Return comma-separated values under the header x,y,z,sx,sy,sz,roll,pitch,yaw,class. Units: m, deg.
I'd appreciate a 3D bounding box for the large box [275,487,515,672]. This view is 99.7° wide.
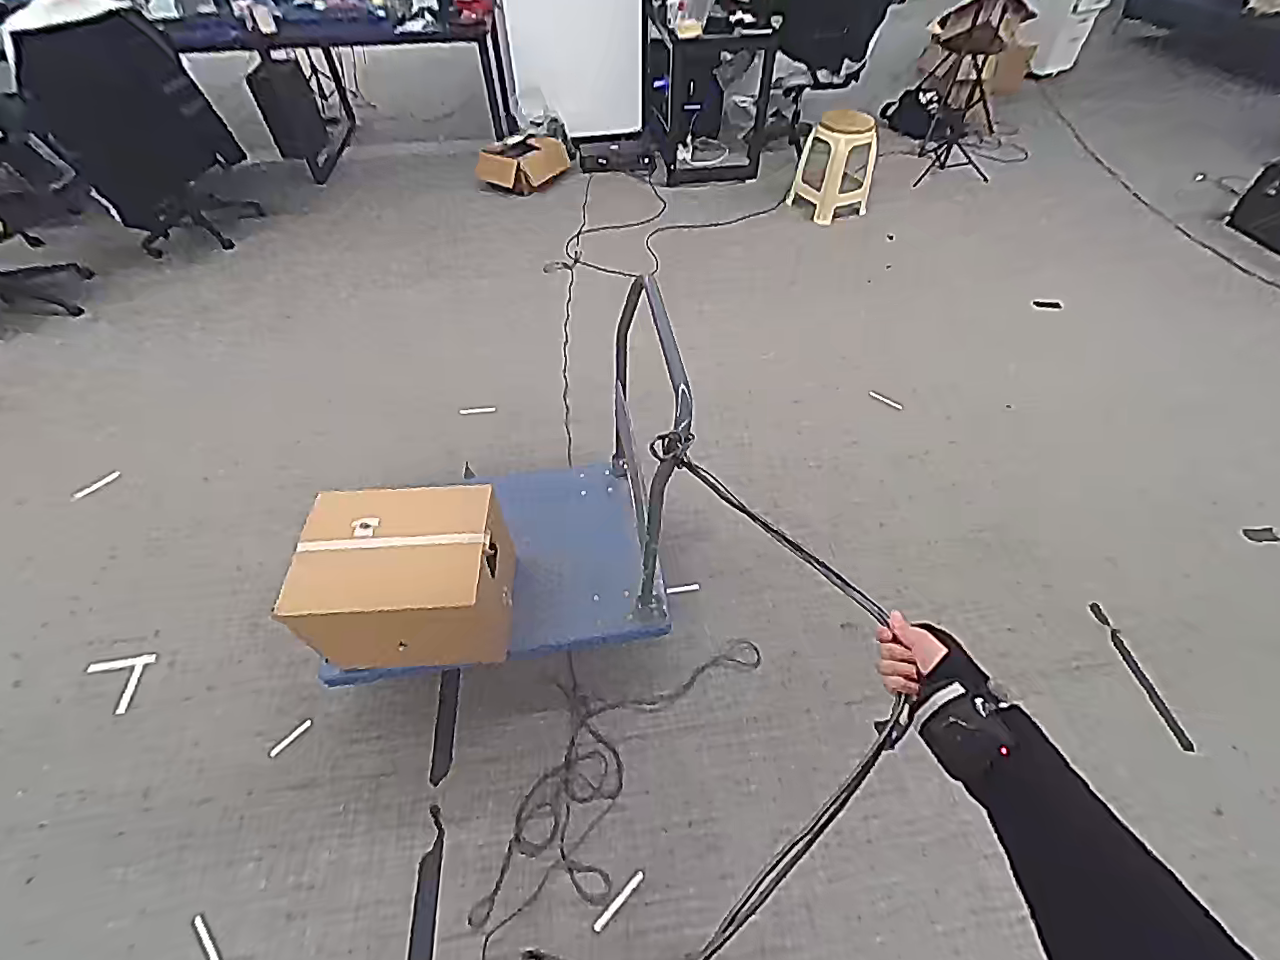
x,y,z,sx,sy,sz,roll,pitch,yaw,class
-0.531,0.241,1.279,0.408,0.320,0.320,-4,51,-2,large box
